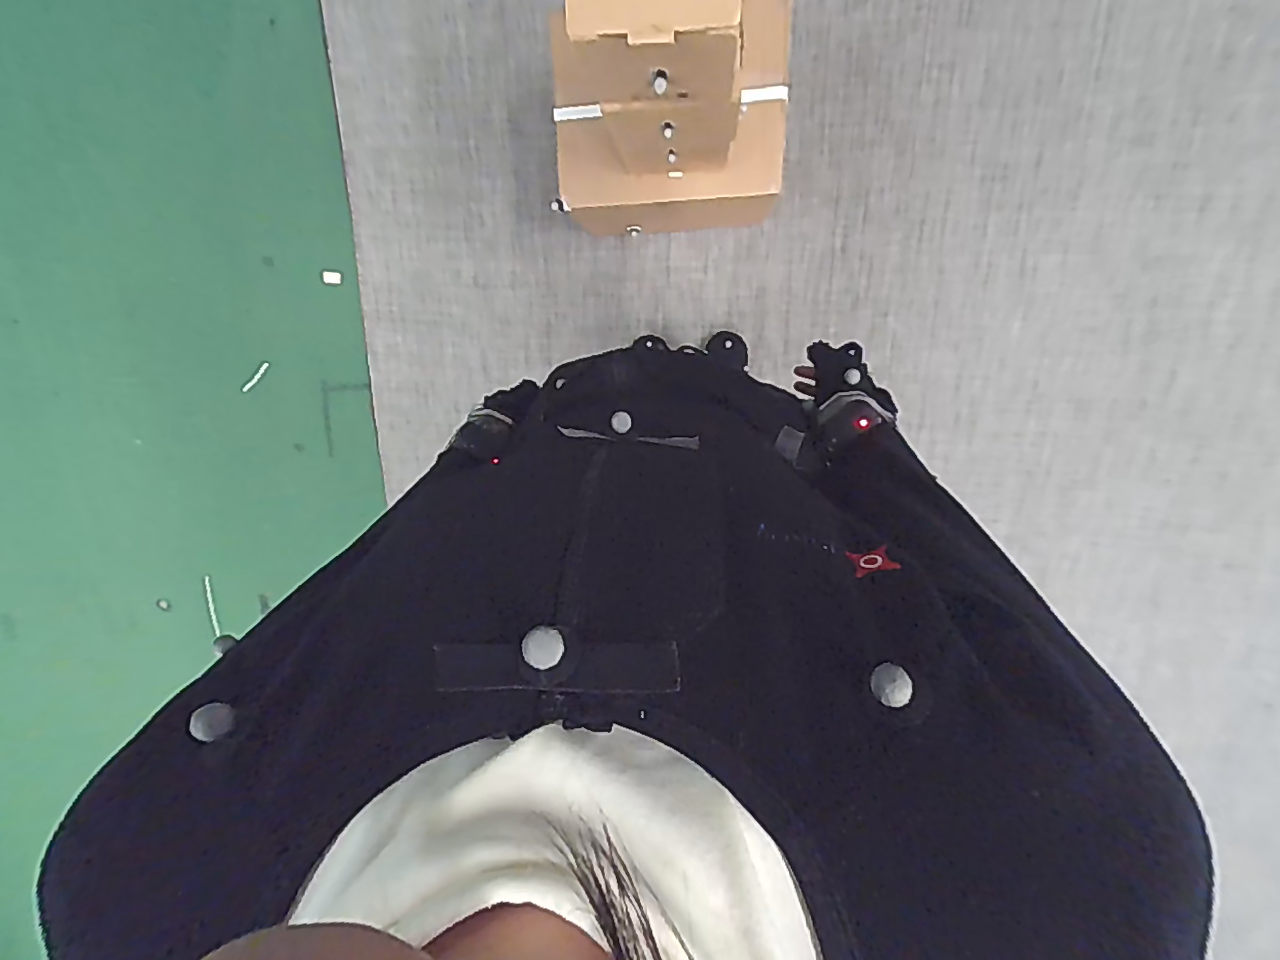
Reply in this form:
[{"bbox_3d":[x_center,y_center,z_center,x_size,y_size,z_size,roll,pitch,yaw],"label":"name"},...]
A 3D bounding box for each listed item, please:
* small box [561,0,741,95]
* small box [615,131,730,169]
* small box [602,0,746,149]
[{"bbox_3d":[0.021,-0.520,0.555,0.168,0.176,0.179,4,108,7],"label":"small box"},{"bbox_3d":[0.057,-0.611,0.868,0.179,0.176,0.168,1,107,6],"label":"small box"},{"bbox_3d":[0.044,-0.558,0.713,0.179,0.176,0.168,-2,107,8],"label":"small box"}]
